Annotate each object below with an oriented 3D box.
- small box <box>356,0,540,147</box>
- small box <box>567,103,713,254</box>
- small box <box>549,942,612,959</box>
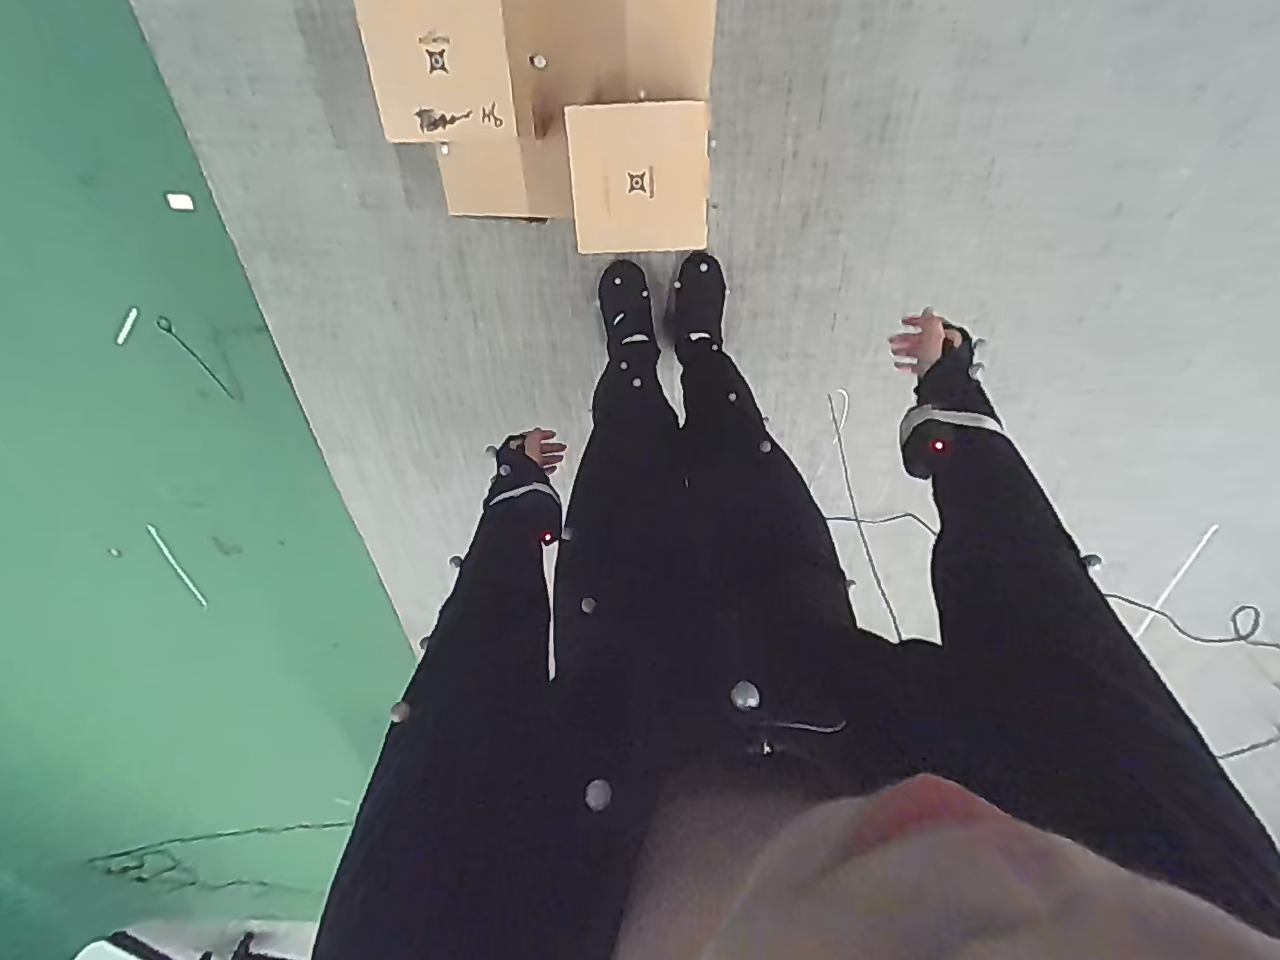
[{"bbox_3d":[-0.226,-0.522,0.678,0.168,0.176,0.179,1,123,2],"label":"small box"},{"bbox_3d":[0.002,-0.416,0.742,0.179,0.176,0.168,-1,123,2],"label":"small box"},{"bbox_3d":[-0.169,1.432,1.524,0.179,0.176,0.168,-3,124,3],"label":"small box"}]
